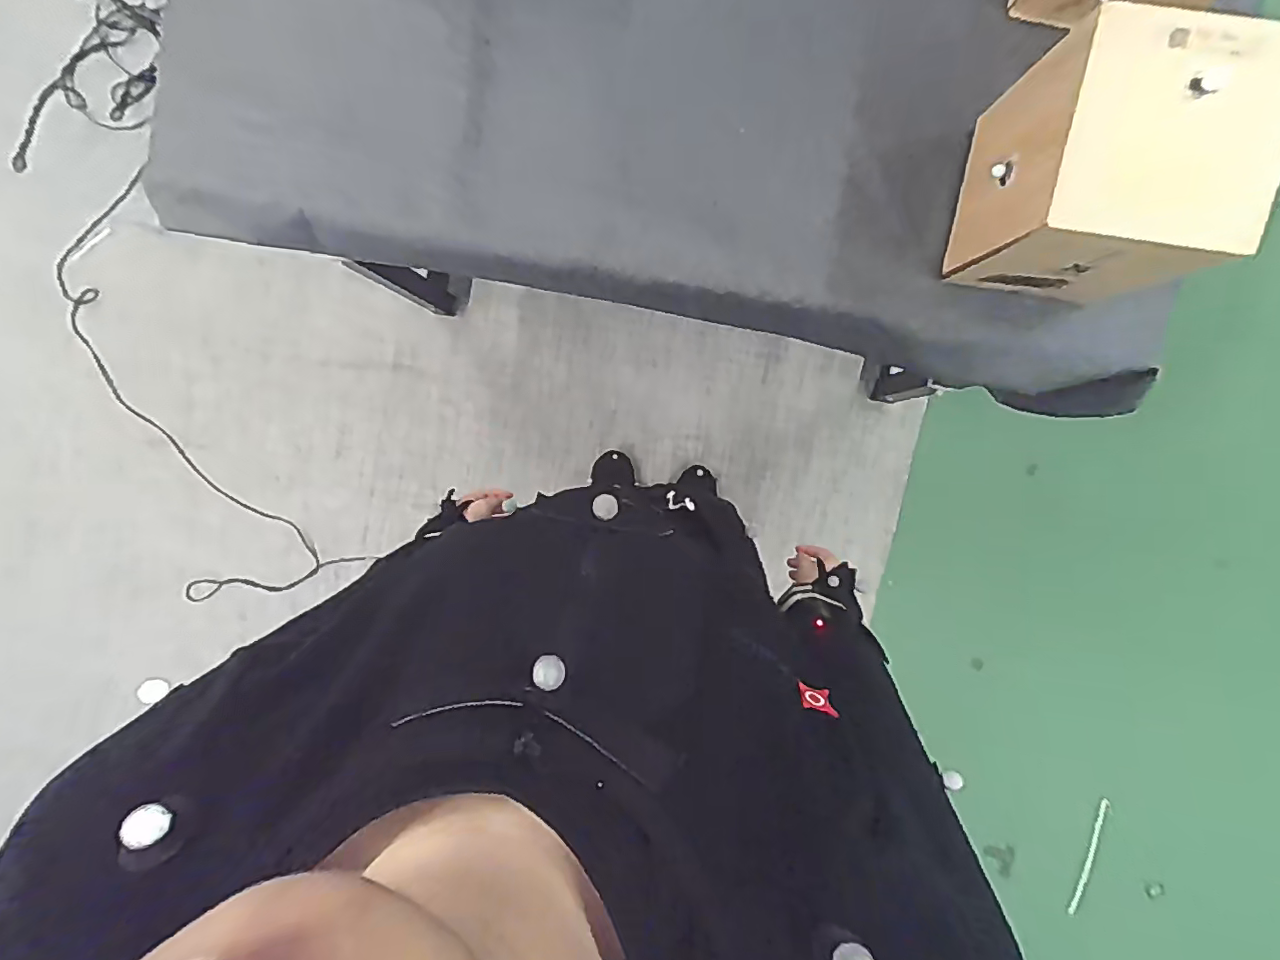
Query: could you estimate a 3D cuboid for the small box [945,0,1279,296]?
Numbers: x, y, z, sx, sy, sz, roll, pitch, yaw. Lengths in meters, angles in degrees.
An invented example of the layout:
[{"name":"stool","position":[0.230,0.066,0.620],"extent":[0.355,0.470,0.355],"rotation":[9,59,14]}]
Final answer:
[{"name":"small box","position":[0.424,-0.285,0.499],"extent":[0.168,0.179,0.176],"rotation":[9,98,2]}]
